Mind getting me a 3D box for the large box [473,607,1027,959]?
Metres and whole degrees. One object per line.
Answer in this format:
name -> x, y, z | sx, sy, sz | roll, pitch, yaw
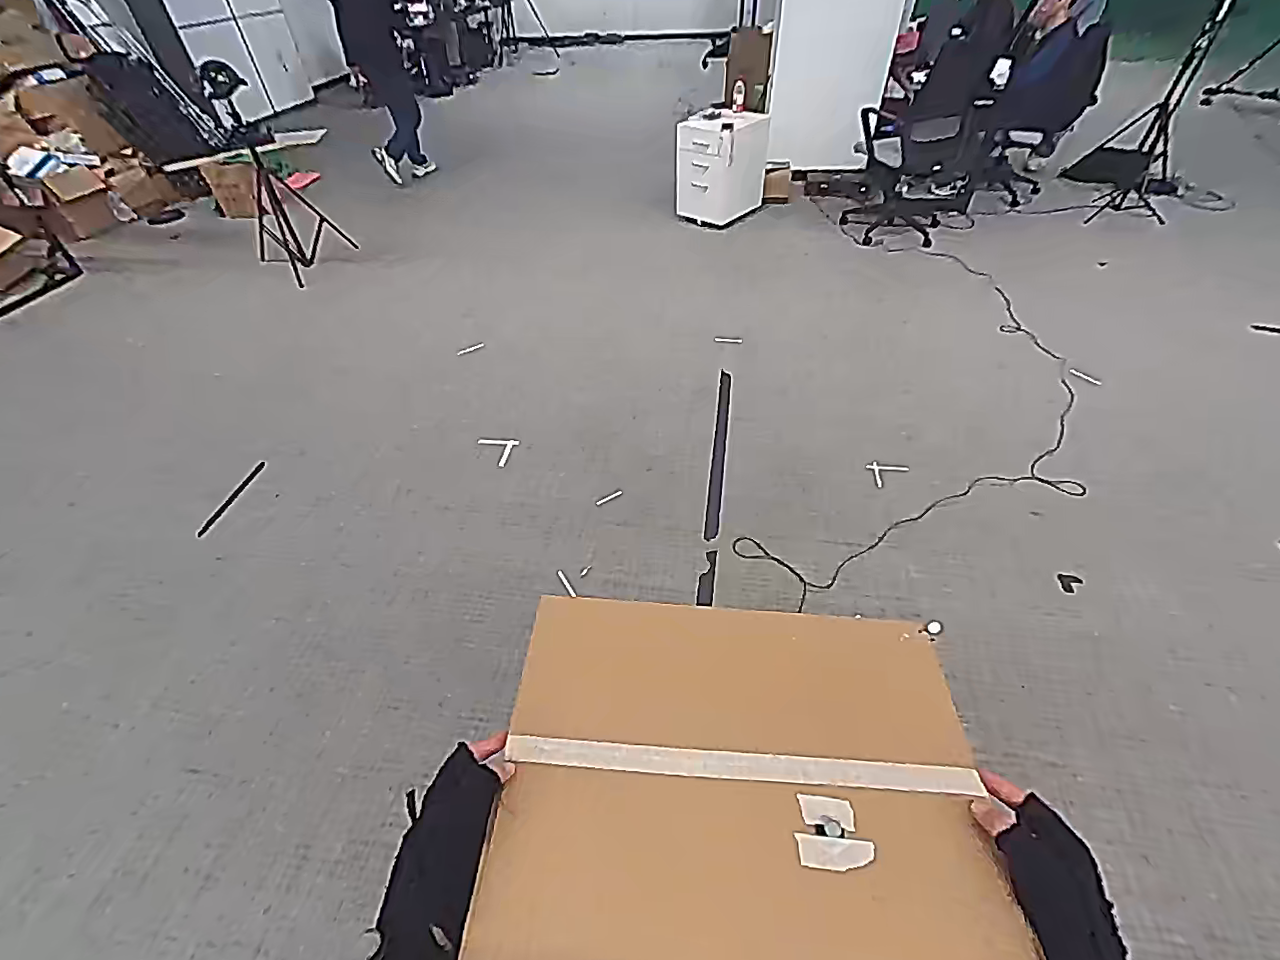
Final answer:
large box -> 0.080, 0.361, 0.573 | 0.408, 0.320, 0.320 | 4, 45, 1
